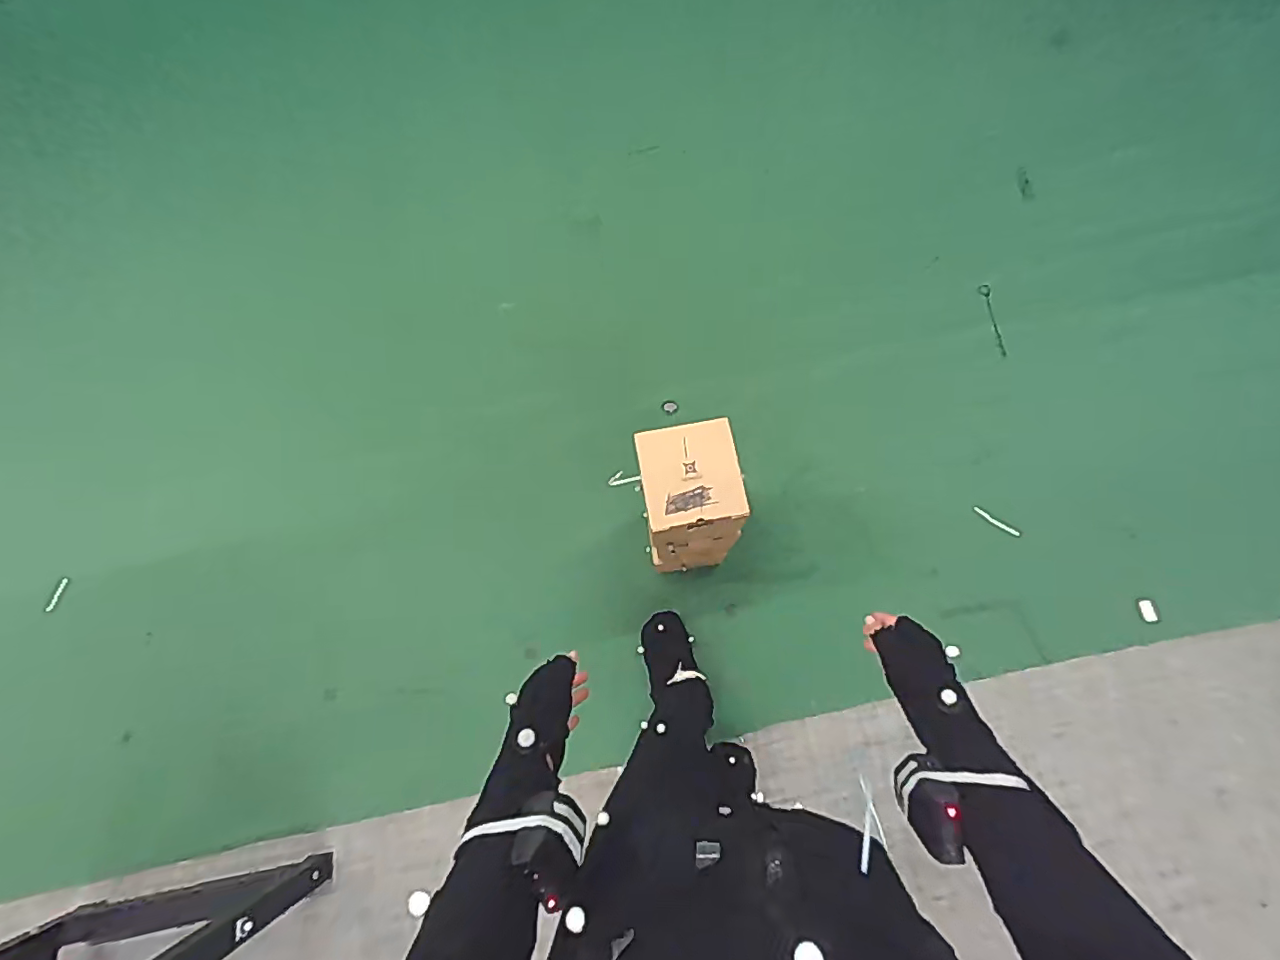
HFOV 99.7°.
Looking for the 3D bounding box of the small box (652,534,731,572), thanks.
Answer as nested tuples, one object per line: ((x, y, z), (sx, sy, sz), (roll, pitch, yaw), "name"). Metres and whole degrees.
((0.111, 0.115, 1.292), (0.168, 0.176, 0.179), (-10, 75, 0), "small box")

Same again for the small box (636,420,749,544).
((0.092, 0.013, 0.979), (0.168, 0.176, 0.179), (-10, 73, 0), "small box")
